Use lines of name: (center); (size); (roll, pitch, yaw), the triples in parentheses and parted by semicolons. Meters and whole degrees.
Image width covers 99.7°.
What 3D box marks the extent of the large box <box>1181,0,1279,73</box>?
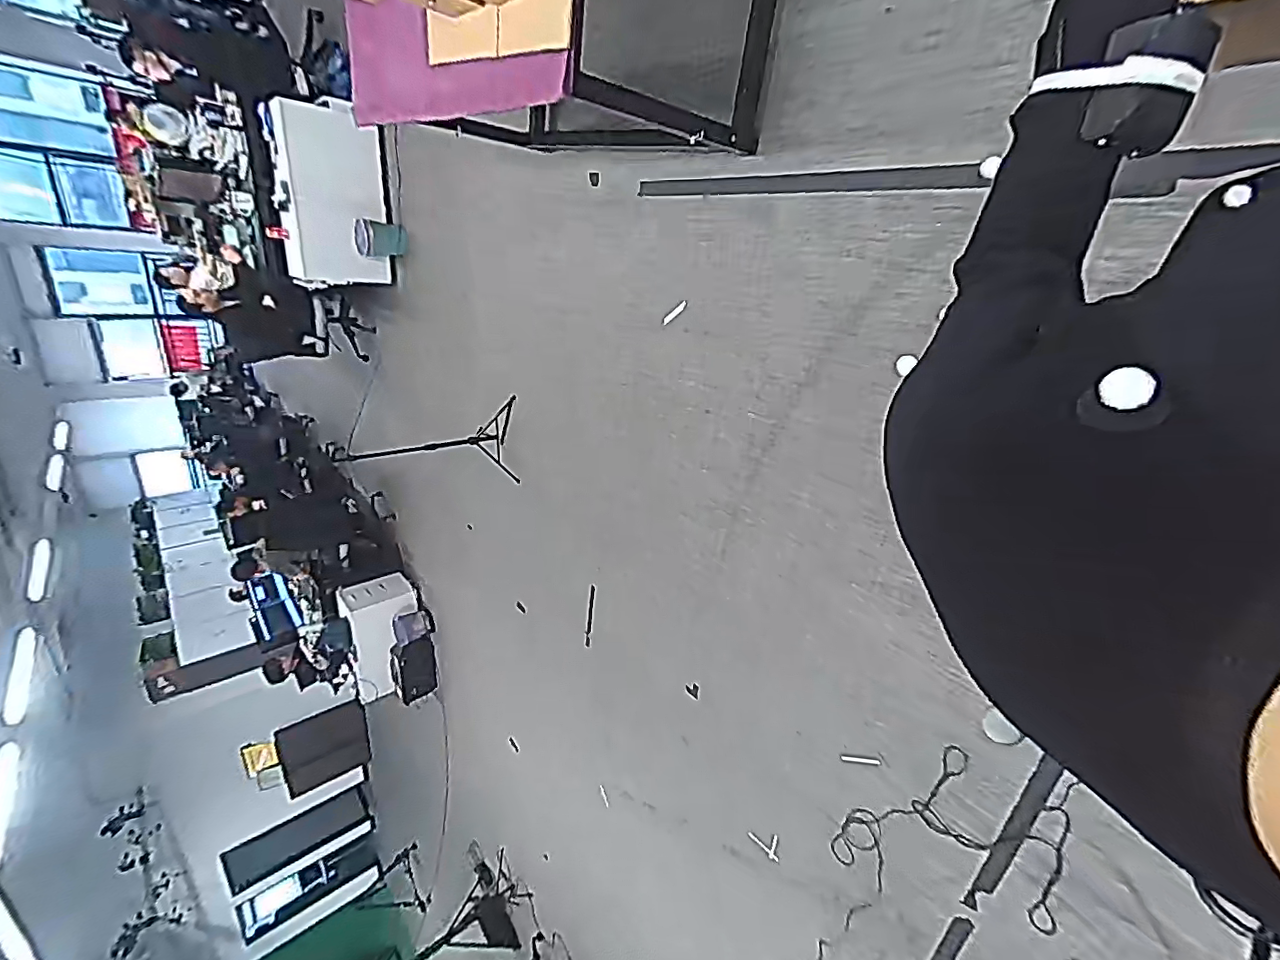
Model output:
large box: (0.571, -0.427, 0.238); (0.408, 0.320, 0.320); (22, 126, 41)
